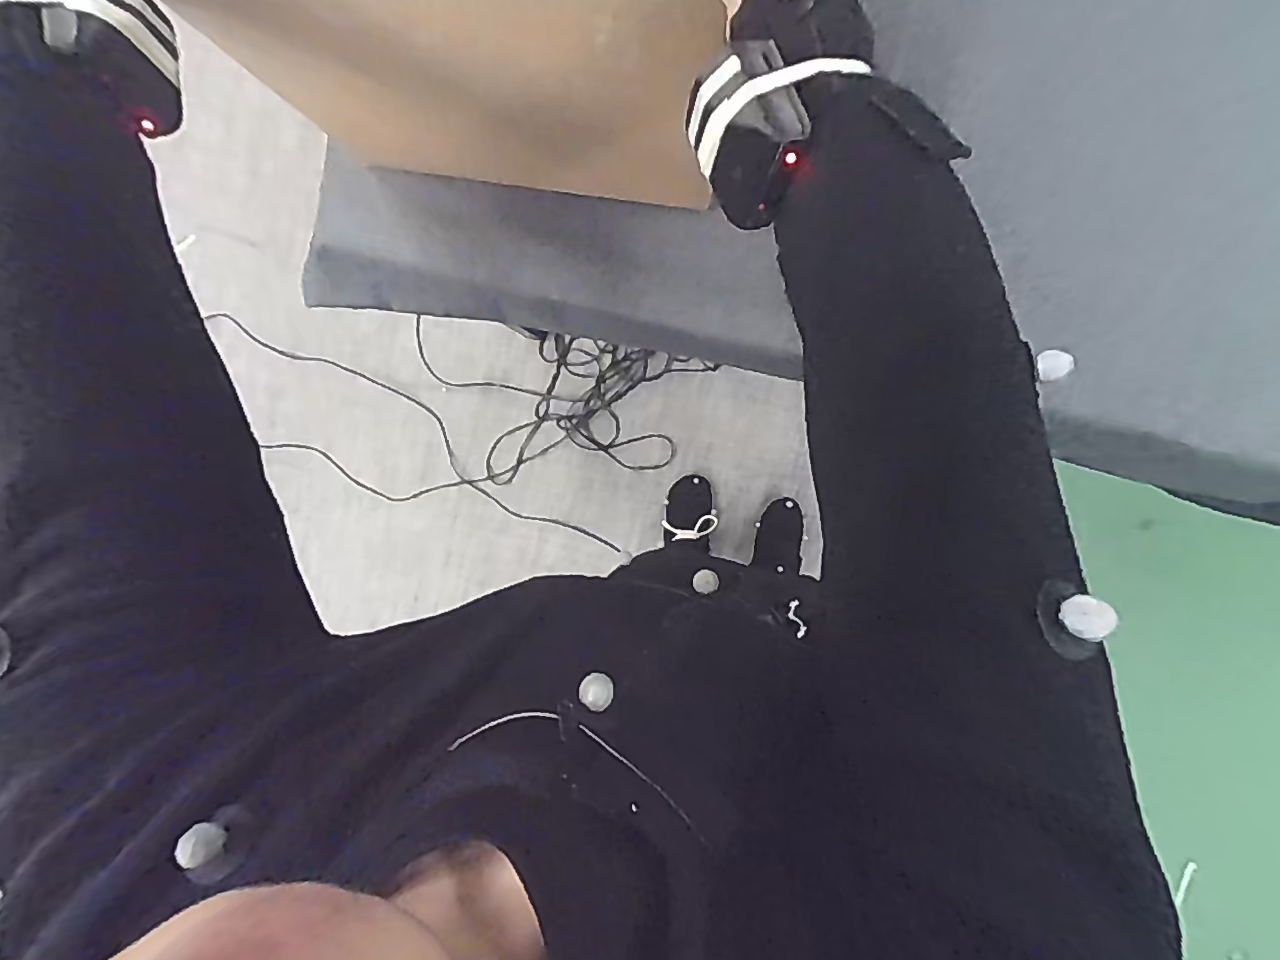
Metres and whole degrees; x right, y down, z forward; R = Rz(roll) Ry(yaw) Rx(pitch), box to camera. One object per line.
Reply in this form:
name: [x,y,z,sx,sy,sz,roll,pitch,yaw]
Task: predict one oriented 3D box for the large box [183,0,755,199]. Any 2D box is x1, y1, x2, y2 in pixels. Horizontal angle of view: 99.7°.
large box: [-0.105,-0.465,0.438,0.408,0.320,0.320,8,97,2]
